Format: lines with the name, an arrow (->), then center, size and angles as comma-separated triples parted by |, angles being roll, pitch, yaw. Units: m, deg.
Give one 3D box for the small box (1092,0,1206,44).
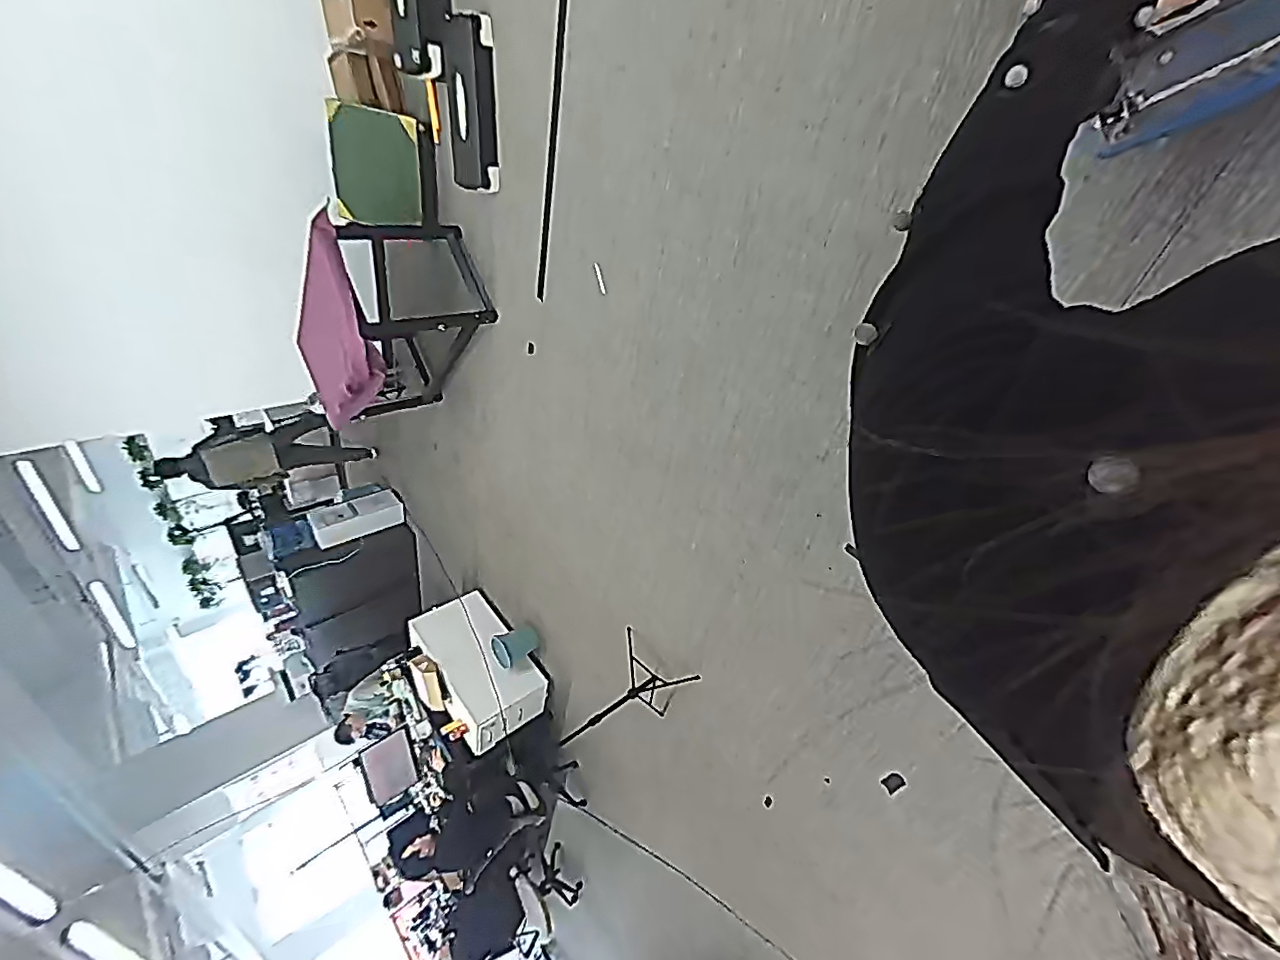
small box -> 0.749, -0.765, 0.765 | 0.168, 0.176, 0.179 | -15, 96, 50
